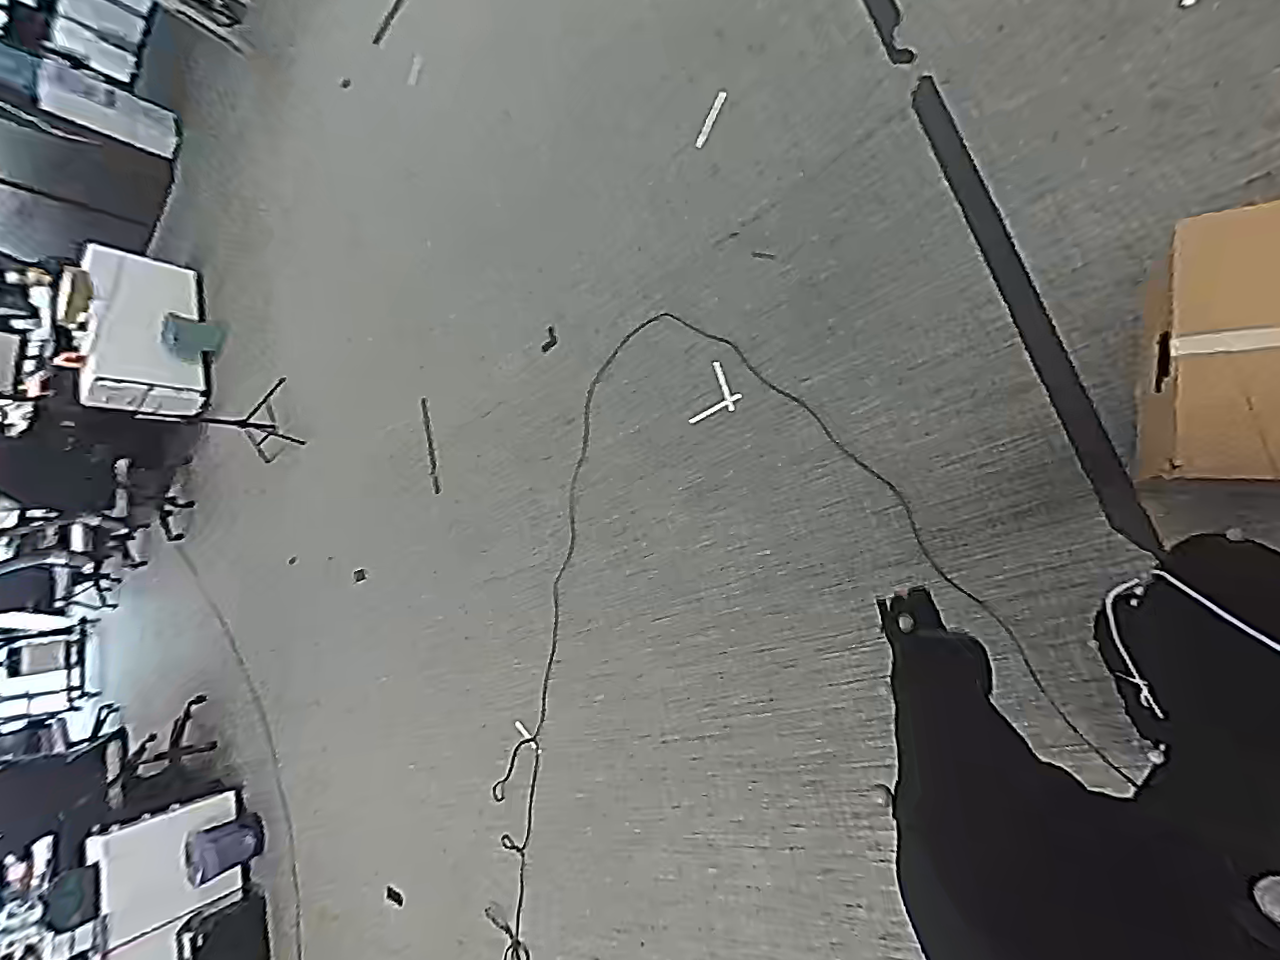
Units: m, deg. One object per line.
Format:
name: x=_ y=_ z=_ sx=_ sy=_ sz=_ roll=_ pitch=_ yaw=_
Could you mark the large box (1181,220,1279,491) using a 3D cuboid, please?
large box: x=0.940 y=-0.140 z=0.635 sx=0.408 sy=0.320 sz=0.320 roll=2 pitch=88 yaw=40
